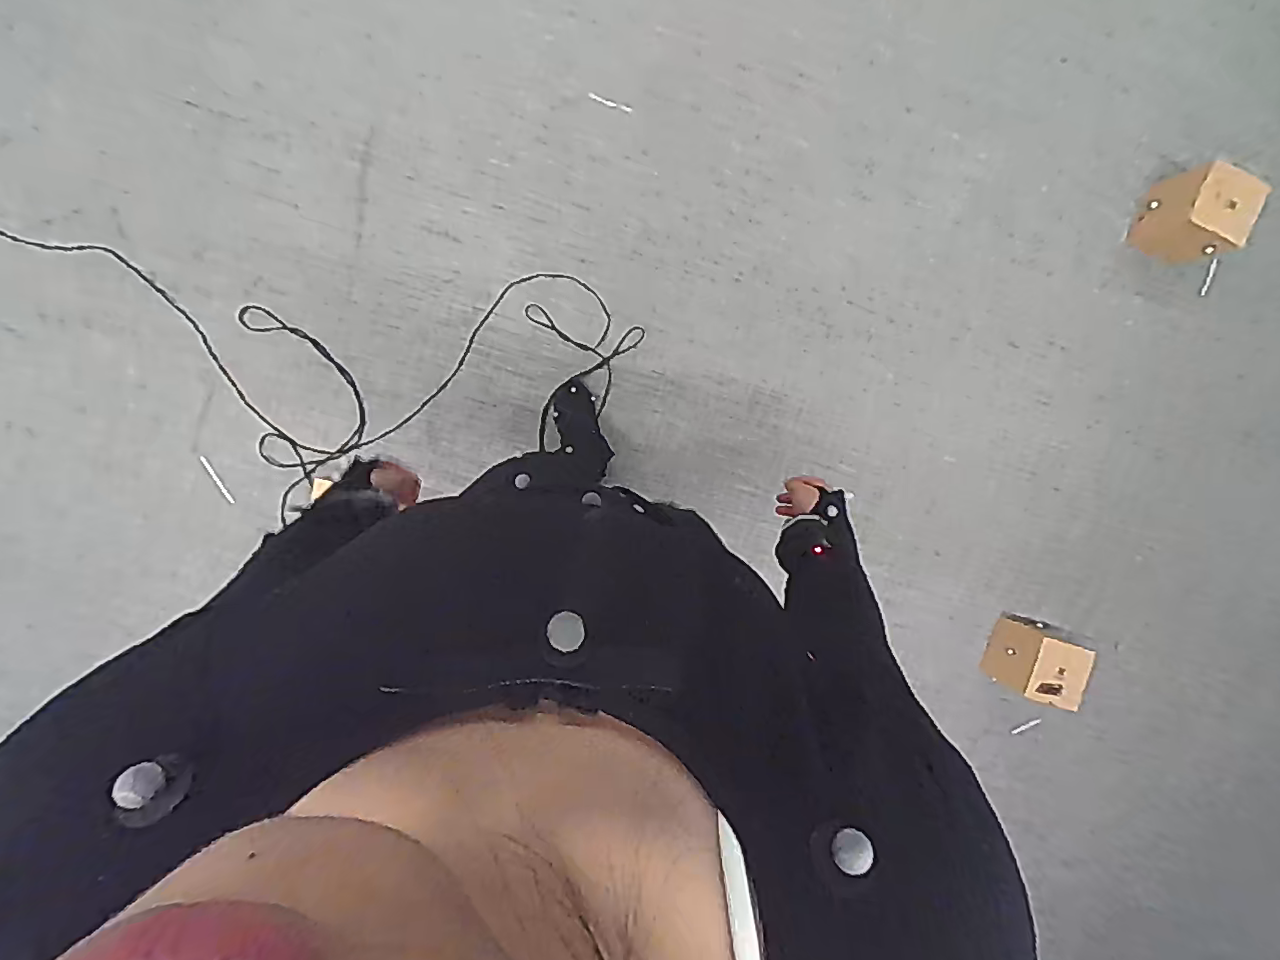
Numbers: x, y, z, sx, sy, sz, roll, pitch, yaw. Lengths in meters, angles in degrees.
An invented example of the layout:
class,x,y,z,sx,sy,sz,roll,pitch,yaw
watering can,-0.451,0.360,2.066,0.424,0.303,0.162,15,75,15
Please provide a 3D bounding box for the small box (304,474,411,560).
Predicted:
class,x,y,z,sx,sy,sz,roll,pitch,yaw
small box,-0.695,0.085,1.351,0.179,0.176,0.168,14,95,-7

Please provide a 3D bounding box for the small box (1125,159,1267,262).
class,x,y,z,sx,sy,sz,roll,pitch,yaw
small box,1.473,-0.706,1.442,0.179,0.176,0.168,22,94,-7

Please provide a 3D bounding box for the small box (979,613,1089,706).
class,x,y,z,sx,sy,sz,roll,pitch,yaw
small box,1.121,0.511,1.555,0.168,0.176,0.179,17,94,-6
